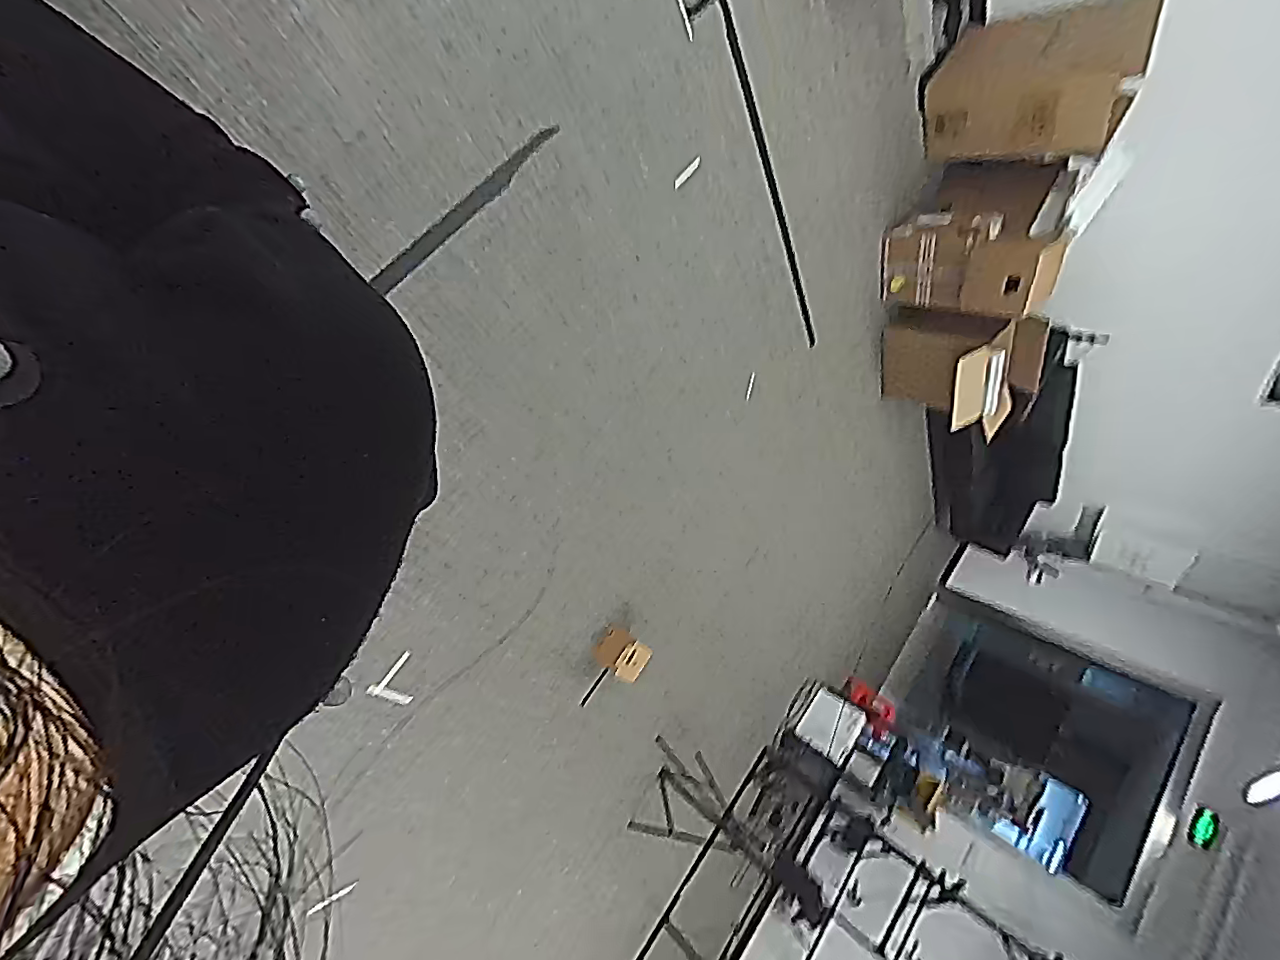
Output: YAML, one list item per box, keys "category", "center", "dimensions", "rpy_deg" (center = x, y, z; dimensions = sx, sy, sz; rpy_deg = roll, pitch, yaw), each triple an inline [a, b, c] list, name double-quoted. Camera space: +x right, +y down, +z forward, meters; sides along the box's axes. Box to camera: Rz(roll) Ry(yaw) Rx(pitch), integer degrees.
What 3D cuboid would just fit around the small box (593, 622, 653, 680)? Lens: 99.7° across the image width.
- category: "small box"
  center: [-0.080, 0.769, 2.441]
  dimensions: [0.168, 0.176, 0.179]
  rpy_deg: [-53, 137, -13]
